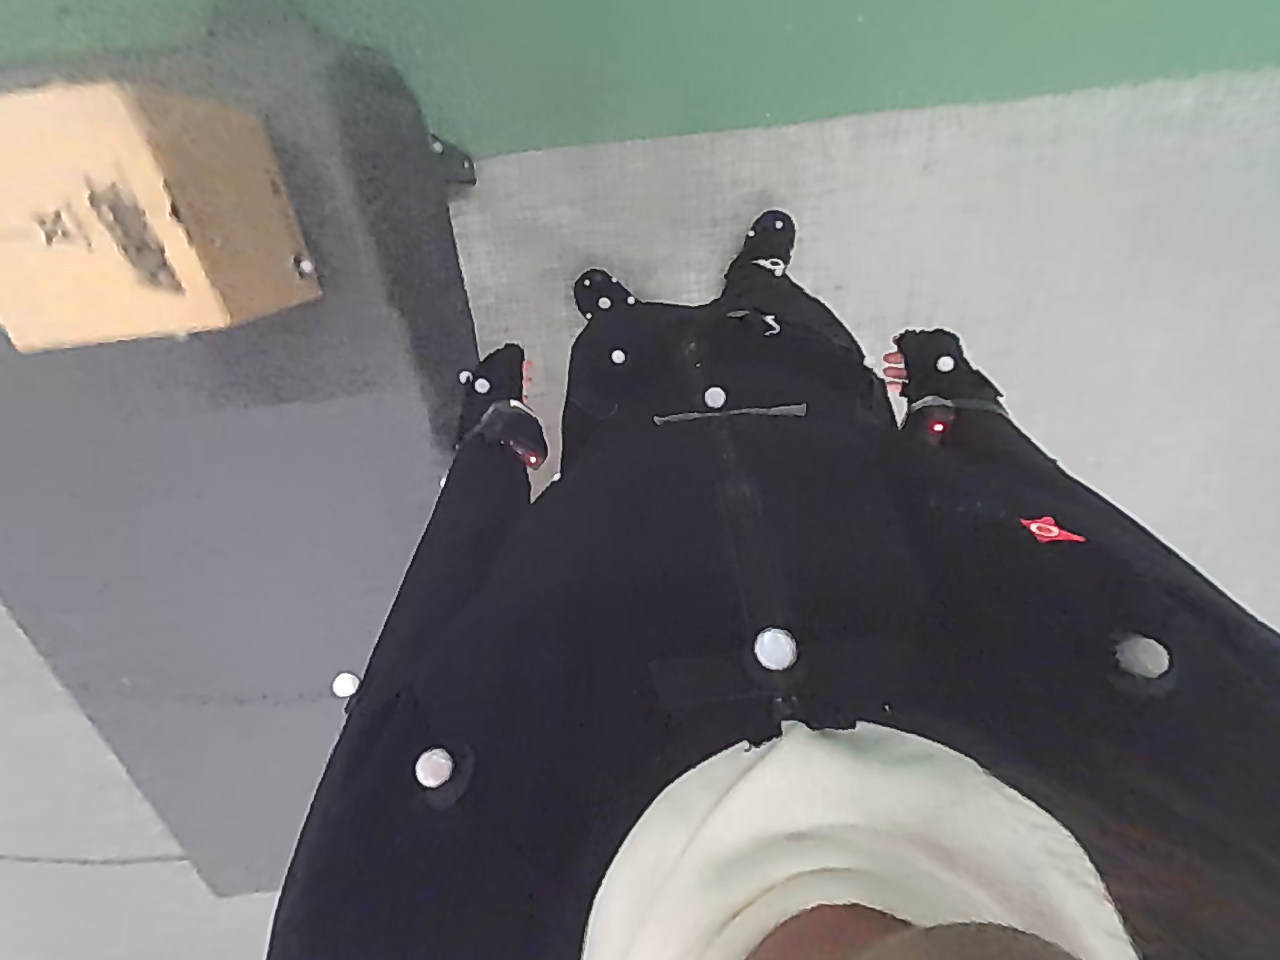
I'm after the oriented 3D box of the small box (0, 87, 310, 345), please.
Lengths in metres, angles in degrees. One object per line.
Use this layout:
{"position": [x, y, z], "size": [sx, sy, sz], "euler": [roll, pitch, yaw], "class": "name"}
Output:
{"position": [-0.431, -0.229, 0.480], "size": [0.179, 0.176, 0.168], "euler": [-7, 117, 1], "class": "small box"}
